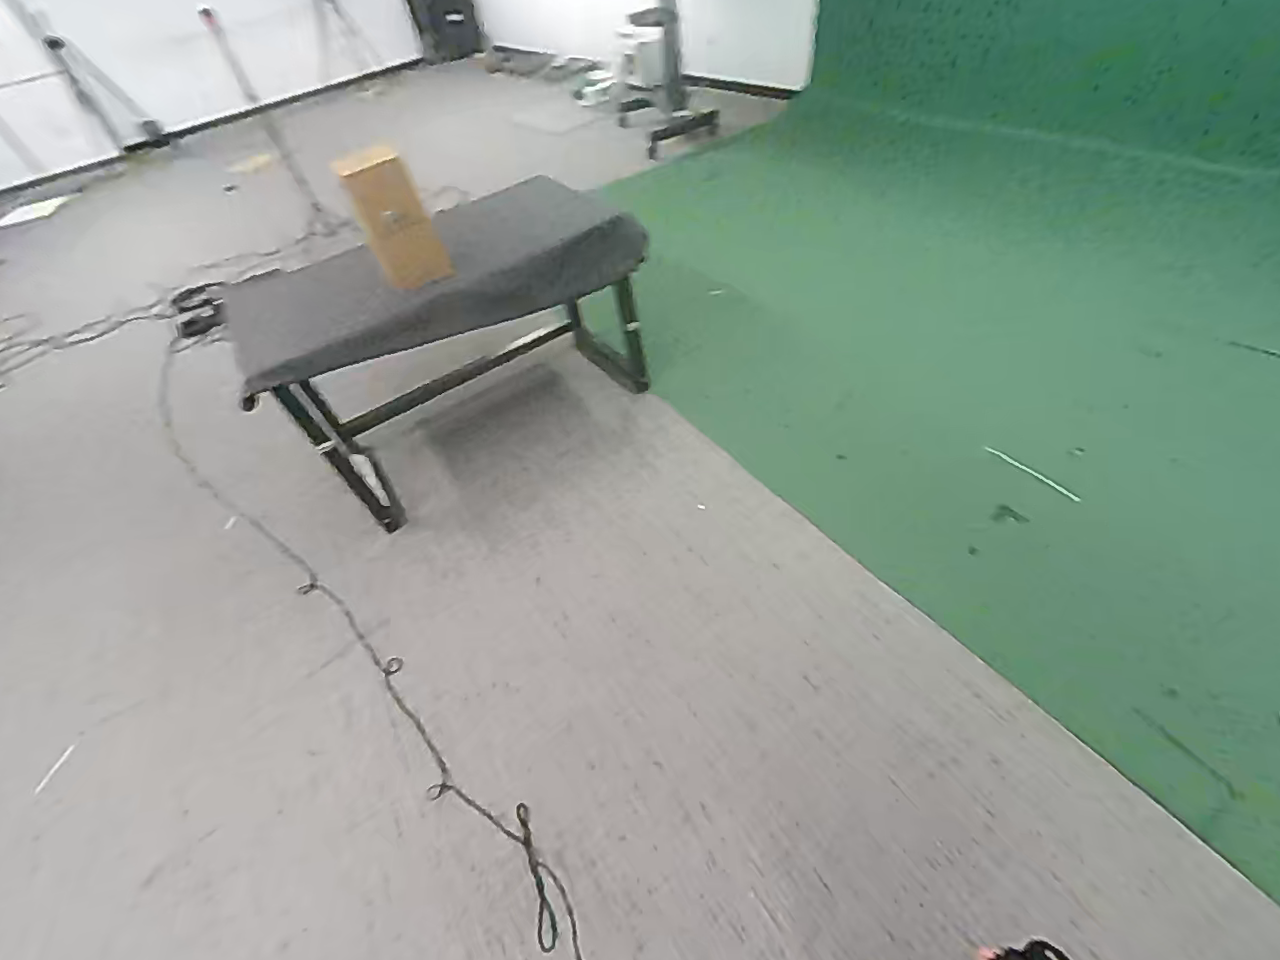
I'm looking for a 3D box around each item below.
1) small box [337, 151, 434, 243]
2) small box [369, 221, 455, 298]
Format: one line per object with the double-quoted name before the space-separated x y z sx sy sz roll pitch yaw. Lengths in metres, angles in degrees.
"small box" -0.708 -0.788 1.511 0.168 0.176 0.179 -33 50 -15
"small box" -0.679 -0.679 1.627 0.179 0.176 0.168 -29 48 -16
